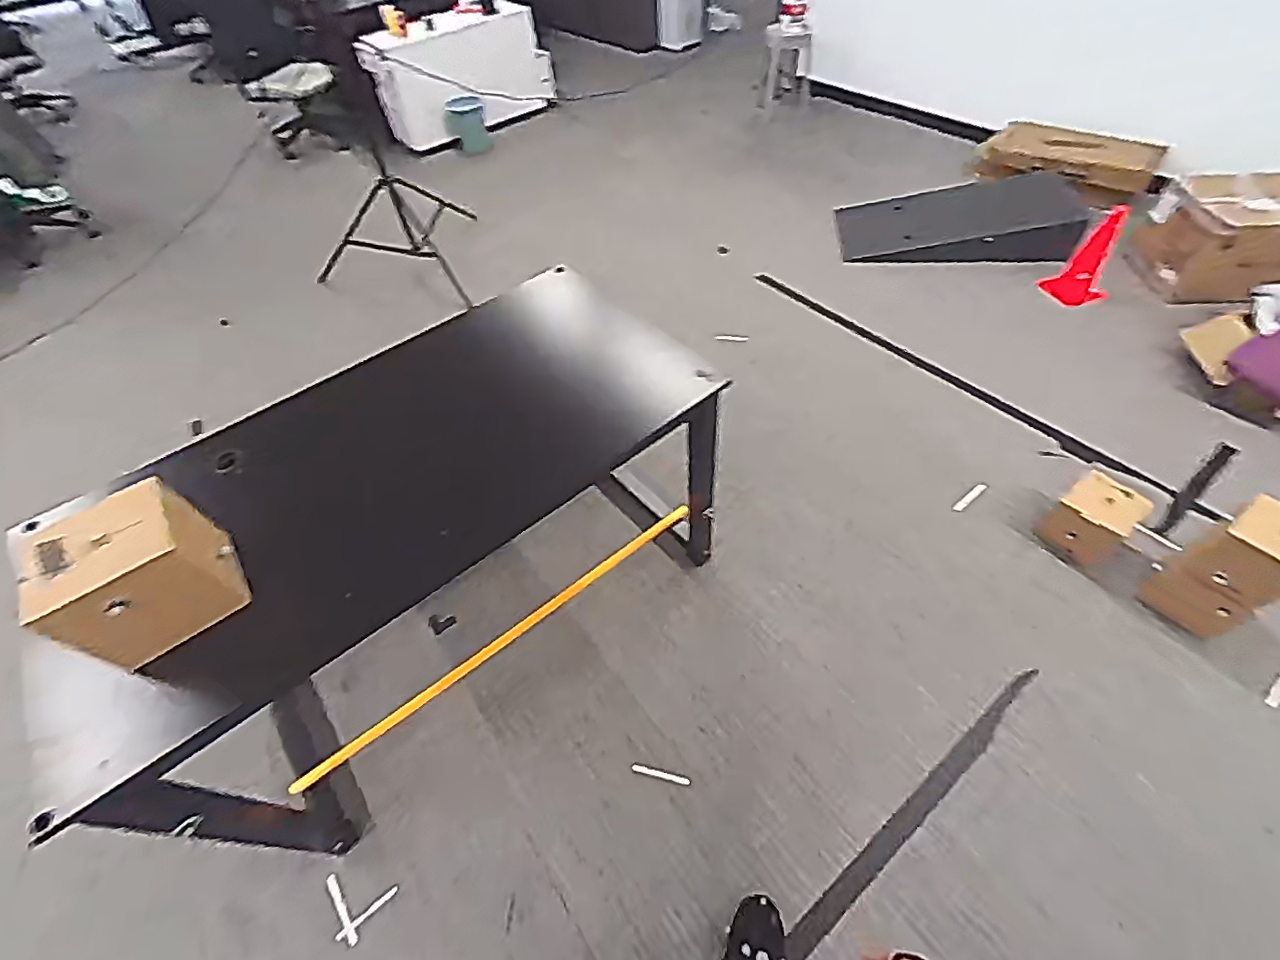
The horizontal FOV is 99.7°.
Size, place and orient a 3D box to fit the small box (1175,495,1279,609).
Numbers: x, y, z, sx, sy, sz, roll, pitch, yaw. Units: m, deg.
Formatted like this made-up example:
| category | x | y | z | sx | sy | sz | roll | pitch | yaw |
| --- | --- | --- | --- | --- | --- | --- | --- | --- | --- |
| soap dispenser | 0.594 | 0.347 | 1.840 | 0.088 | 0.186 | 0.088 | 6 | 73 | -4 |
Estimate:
| category | x | y | z | sx | sy | sz | roll | pitch | yaw |
| --- | --- | --- | --- | --- | --- | --- | --- | --- | --- |
| small box | 1.461 | 0.175 | 1.301 | 0.179 | 0.176 | 0.168 | -34 | 57 | -18 |

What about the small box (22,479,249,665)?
| category | x | y | z | sx | sy | sz | roll | pitch | yaw |
| --- | --- | --- | --- | --- | --- | --- | --- | --- | --- |
| small box | -0.732 | 0.139 | 0.797 | 0.179 | 0.176 | 0.168 | -34 | 57 | -21 |

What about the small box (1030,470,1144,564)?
| category | x | y | z | sx | sy | sz | roll | pitch | yaw |
| --- | --- | --- | --- | --- | --- | --- | --- | --- | --- |
| small box | 1.282 | 0.112 | 1.567 | 0.179 | 0.176 | 0.168 | -33 | 57 | -18 |

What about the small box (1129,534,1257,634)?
| category | x | y | z | sx | sy | sz | roll | pitch | yaw |
| --- | --- | --- | --- | --- | --- | --- | --- | --- | --- |
| small box | 1.465 | 0.281 | 1.424 | 0.168 | 0.176 | 0.179 | -36 | 58 | -21 |
